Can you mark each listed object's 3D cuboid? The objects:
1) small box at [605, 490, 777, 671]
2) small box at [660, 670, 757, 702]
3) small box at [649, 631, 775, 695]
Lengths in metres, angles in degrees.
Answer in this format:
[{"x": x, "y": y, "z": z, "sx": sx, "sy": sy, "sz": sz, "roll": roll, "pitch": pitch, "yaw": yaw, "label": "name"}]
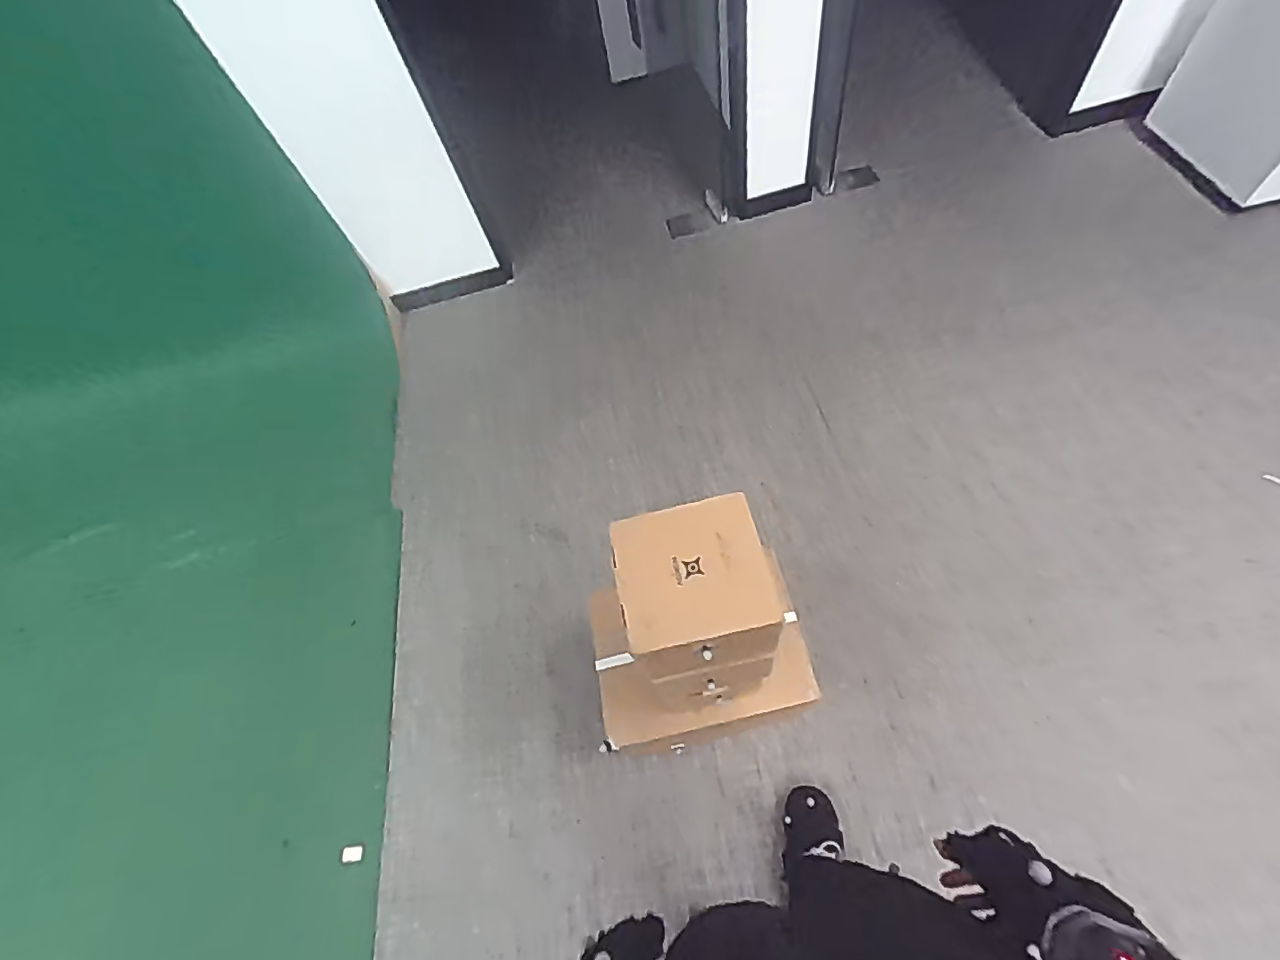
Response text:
[{"x": 0.066, "y": 0.137, "z": 0.699, "sx": 0.179, "sy": 0.176, "sz": 0.168, "roll": -13, "pitch": 61, "yaw": 2, "label": "small box"}, {"x": 0.109, "y": 0.294, "z": 0.982, "sx": 0.168, "sy": 0.176, "sz": 0.179, "roll": -16, "pitch": 61, "yaw": 2, "label": "small box"}, {"x": 0.092, "y": 0.220, "z": 0.836, "sx": 0.179, "sy": 0.176, "sz": 0.168, "roll": -16, "pitch": 60, "yaw": 1, "label": "small box"}]
